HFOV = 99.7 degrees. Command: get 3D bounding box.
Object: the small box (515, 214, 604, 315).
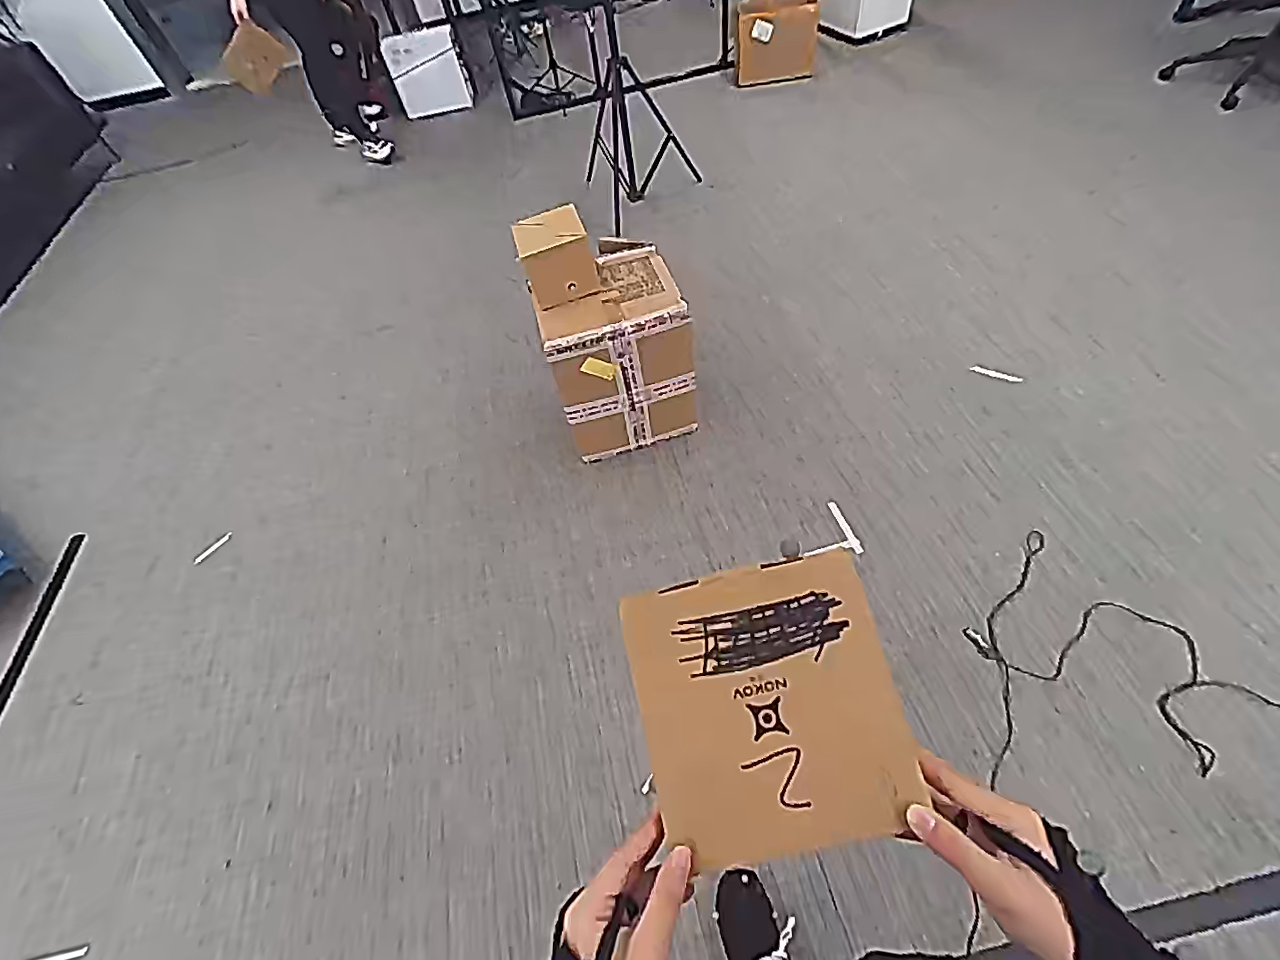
[{"bbox_3d":[-0.215,-0.583,1.450,0.179,0.176,0.168,-19,55,-1],"label":"small box"}]
